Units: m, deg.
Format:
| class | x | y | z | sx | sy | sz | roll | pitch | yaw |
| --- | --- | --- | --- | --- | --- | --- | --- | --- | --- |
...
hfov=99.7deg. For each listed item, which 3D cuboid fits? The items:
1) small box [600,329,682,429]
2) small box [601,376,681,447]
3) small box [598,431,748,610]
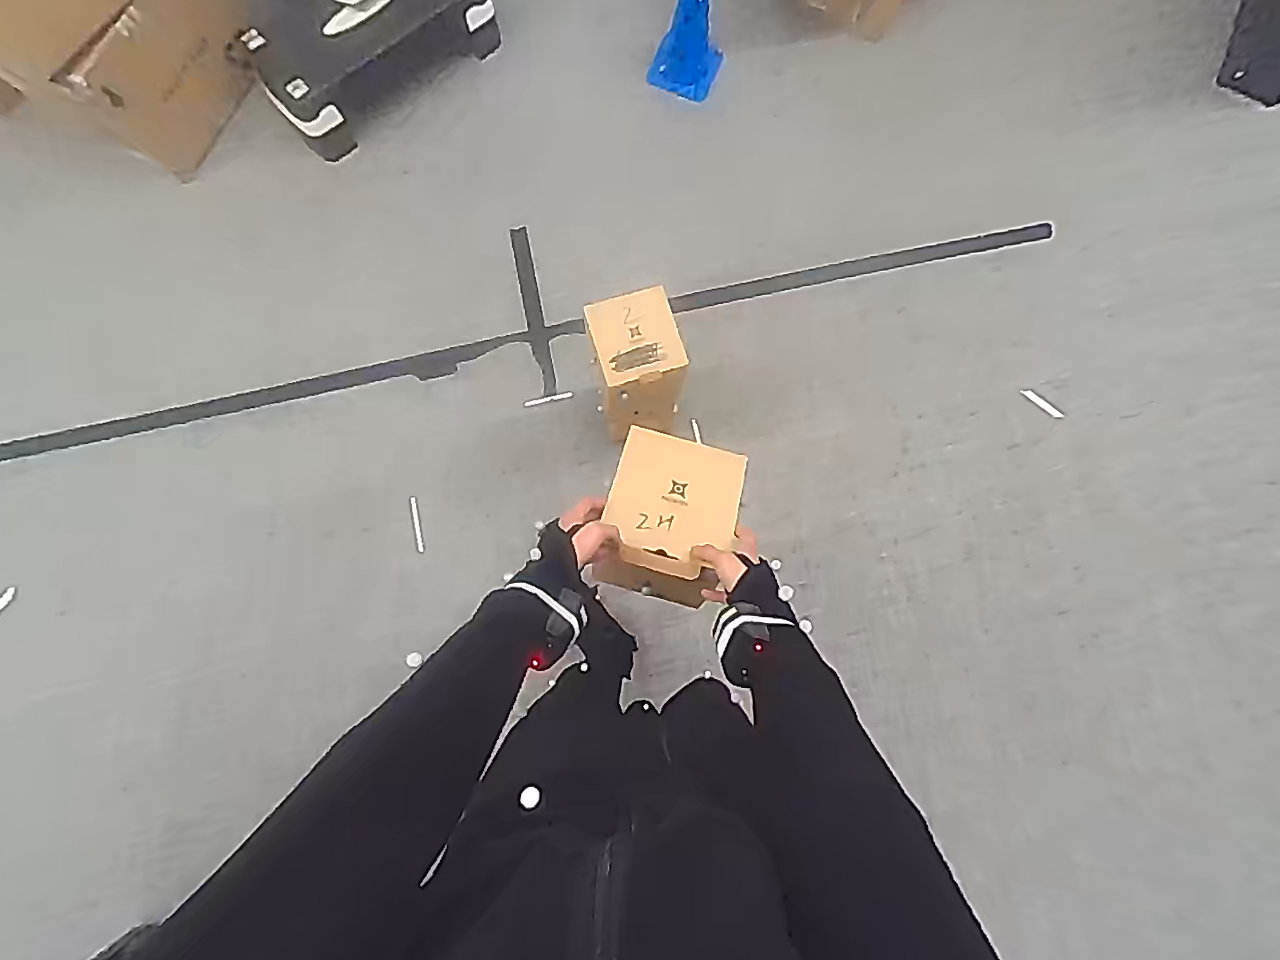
| class | x | y | z | sx | sy | sz | roll | pitch | yaw |
| --- | --- | --- | --- | --- | --- | --- | --- | --- | --- |
| small box | -0.004 | -0.235 | 1.291 | 0.168 | 0.176 | 0.179 | -10 | 82 | -4 |
| small box | -0.002 | -0.199 | 1.450 | 0.179 | 0.176 | 0.168 | -14 | 82 | -3 |
| small box | 0.040 | 0.063 | 0.765 | 0.168 | 0.176 | 0.179 | 16 | 63 | 3 |
